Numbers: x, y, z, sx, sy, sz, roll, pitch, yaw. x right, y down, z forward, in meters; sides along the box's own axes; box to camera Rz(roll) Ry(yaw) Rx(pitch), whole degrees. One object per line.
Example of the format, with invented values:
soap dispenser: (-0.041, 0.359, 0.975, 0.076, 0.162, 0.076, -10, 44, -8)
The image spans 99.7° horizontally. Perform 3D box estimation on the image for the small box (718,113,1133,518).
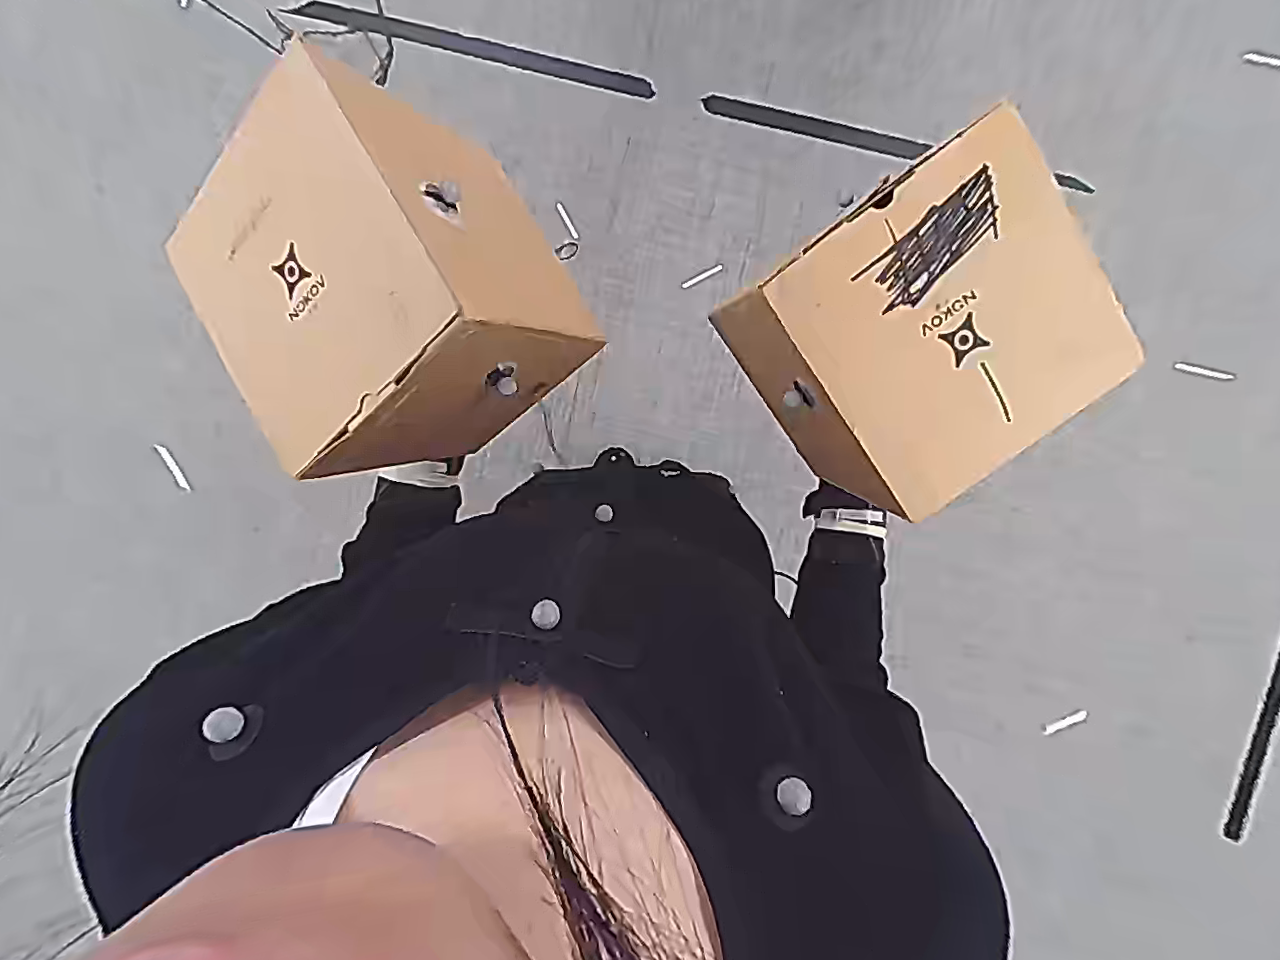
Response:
small box: (0.178, -0.103, 0.393, 0.168, 0.176, 0.179, -36, 102, 5)

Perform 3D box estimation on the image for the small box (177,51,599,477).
small box: (-0.158, -0.125, 0.380, 0.168, 0.176, 0.179, -34, 85, 22)
